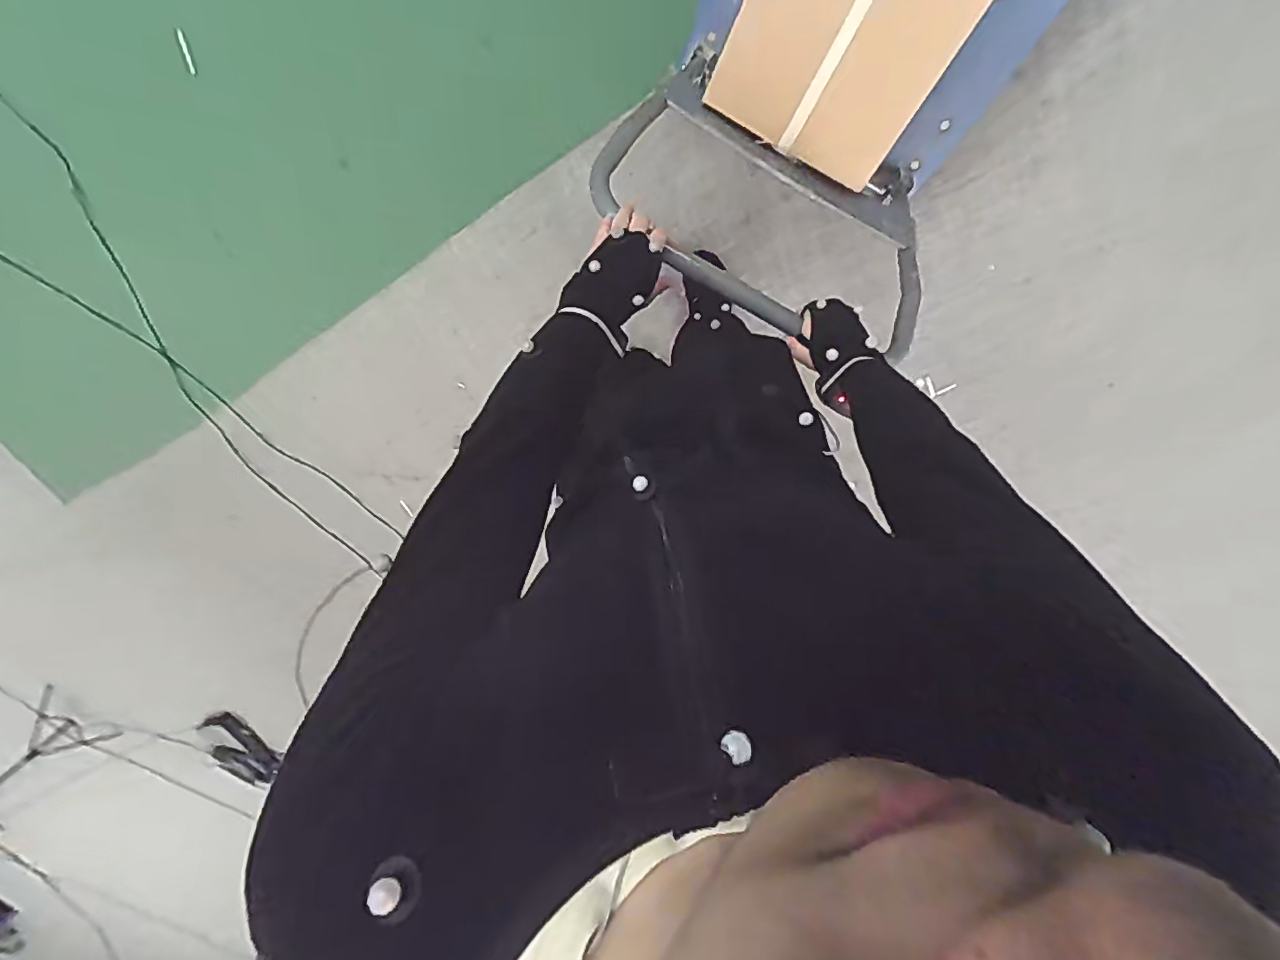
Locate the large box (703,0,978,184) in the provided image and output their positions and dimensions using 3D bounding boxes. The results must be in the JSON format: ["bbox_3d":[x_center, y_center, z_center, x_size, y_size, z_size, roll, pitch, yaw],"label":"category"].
[{"bbox_3d":[0.352,-0.794,0.897,0.320,0.320,0.408,27,134,-5],"label":"large box"}]
